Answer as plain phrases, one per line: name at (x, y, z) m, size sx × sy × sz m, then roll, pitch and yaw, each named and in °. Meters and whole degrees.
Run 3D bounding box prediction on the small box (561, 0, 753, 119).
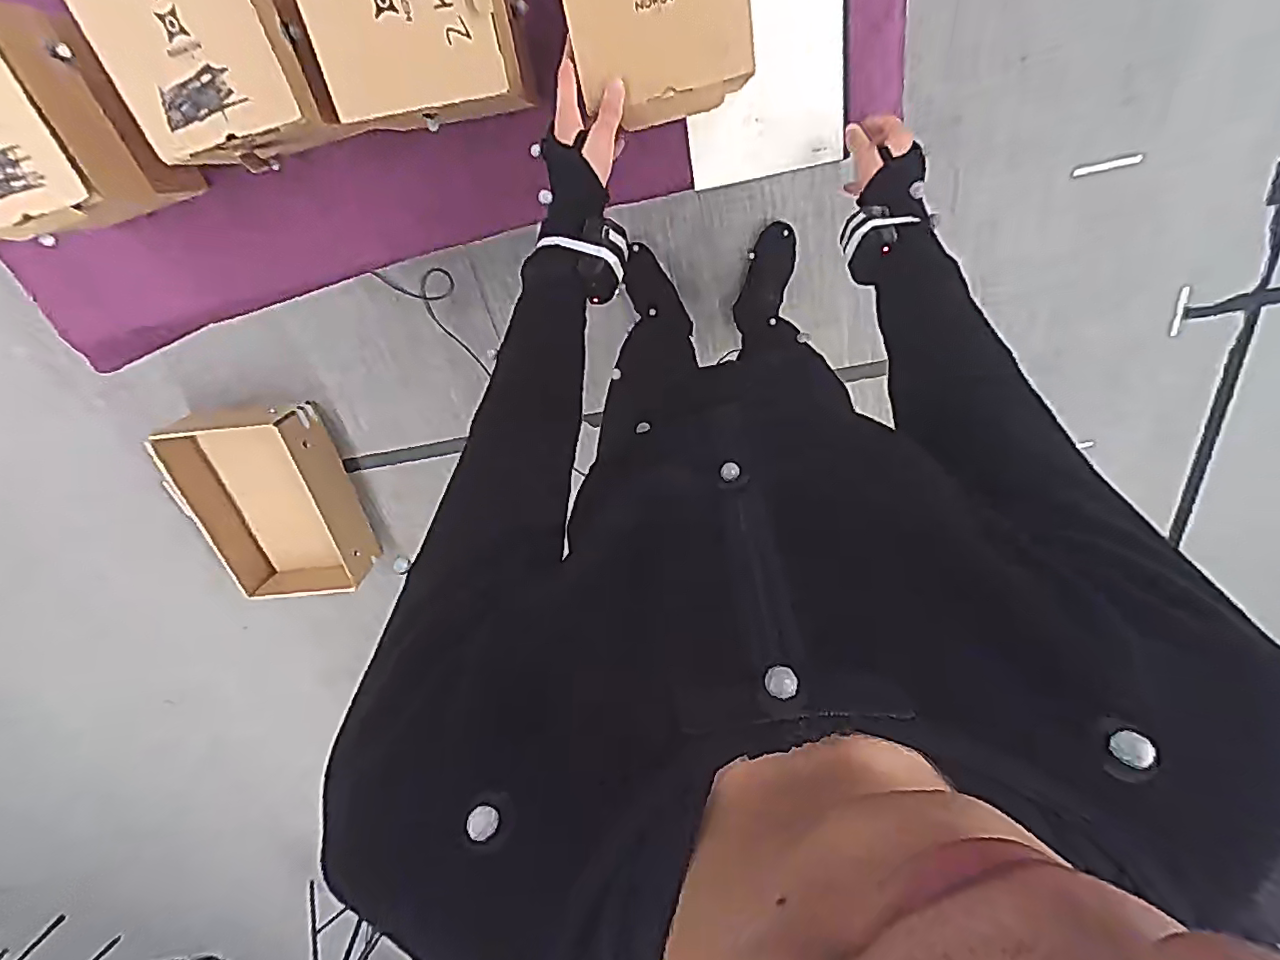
small box at (0.016, -0.475, 0.534) m, size 0.168 × 0.176 × 0.179 m, roll -8°, pitch 120°, yaw 9°
